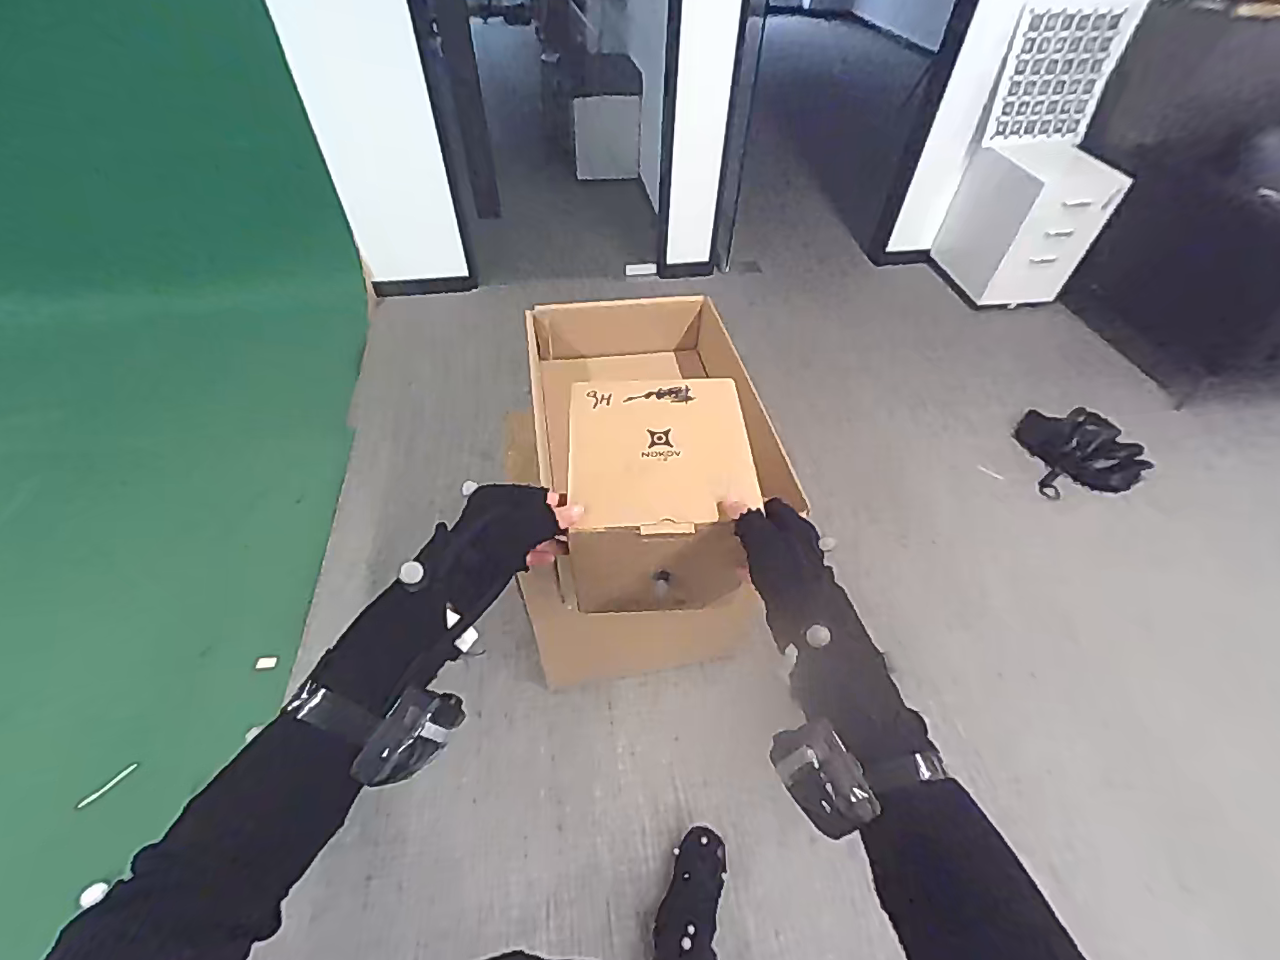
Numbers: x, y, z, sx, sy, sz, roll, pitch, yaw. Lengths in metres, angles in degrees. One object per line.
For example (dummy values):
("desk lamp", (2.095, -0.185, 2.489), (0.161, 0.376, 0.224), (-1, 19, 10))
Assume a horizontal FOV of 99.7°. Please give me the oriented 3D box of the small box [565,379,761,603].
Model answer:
("small box", (0.017, 0.019, 0.556), (0.168, 0.176, 0.179), (-2, 53, -3))
